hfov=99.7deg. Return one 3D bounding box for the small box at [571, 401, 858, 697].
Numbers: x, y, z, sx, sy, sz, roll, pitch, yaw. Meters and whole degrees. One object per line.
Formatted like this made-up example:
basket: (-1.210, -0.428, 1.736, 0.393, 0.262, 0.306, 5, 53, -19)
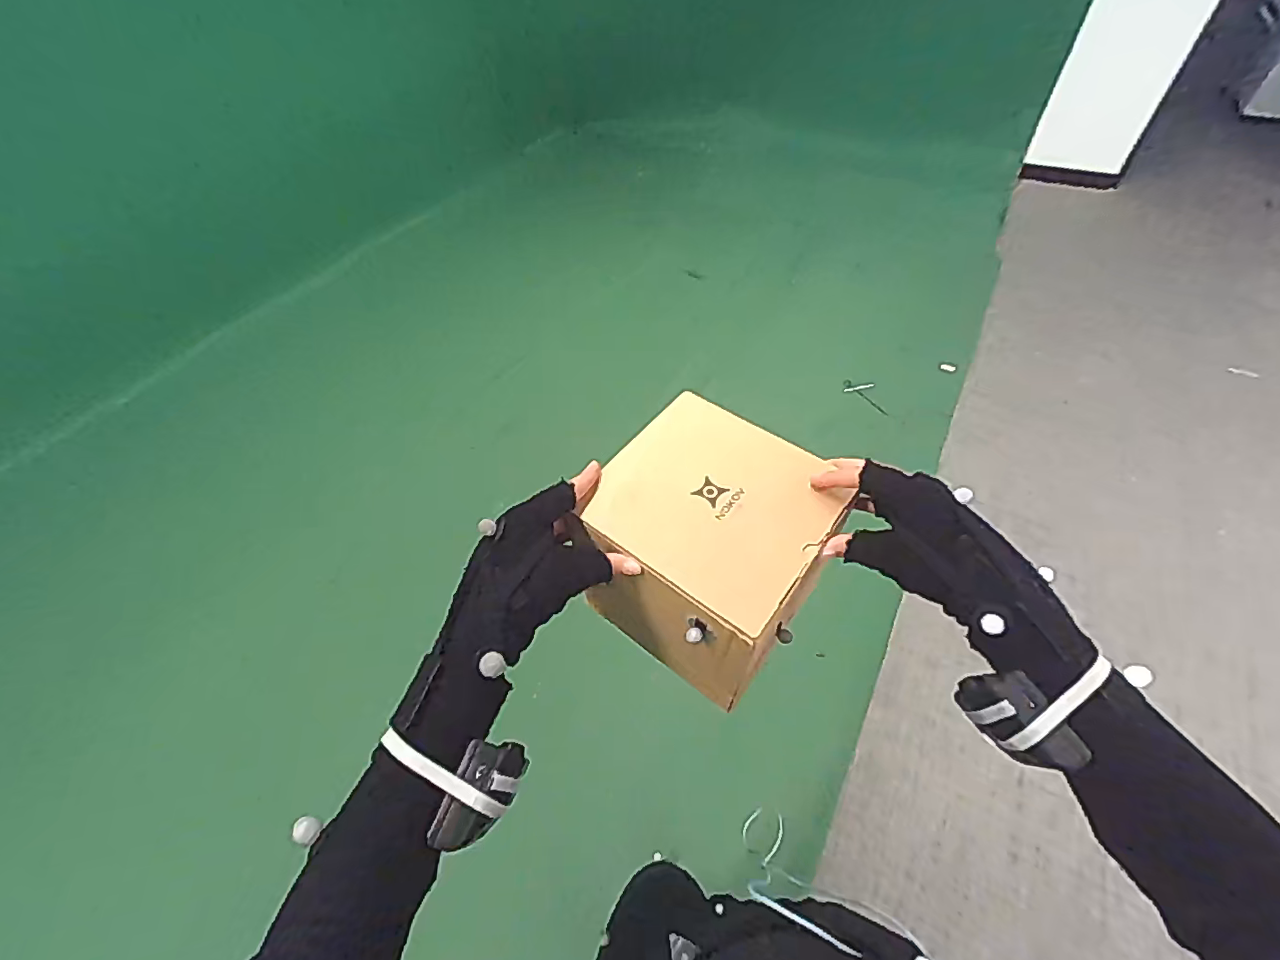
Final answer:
small box: (0.061, 0.066, 0.494, 0.179, 0.176, 0.168, 32, 59, 23)
